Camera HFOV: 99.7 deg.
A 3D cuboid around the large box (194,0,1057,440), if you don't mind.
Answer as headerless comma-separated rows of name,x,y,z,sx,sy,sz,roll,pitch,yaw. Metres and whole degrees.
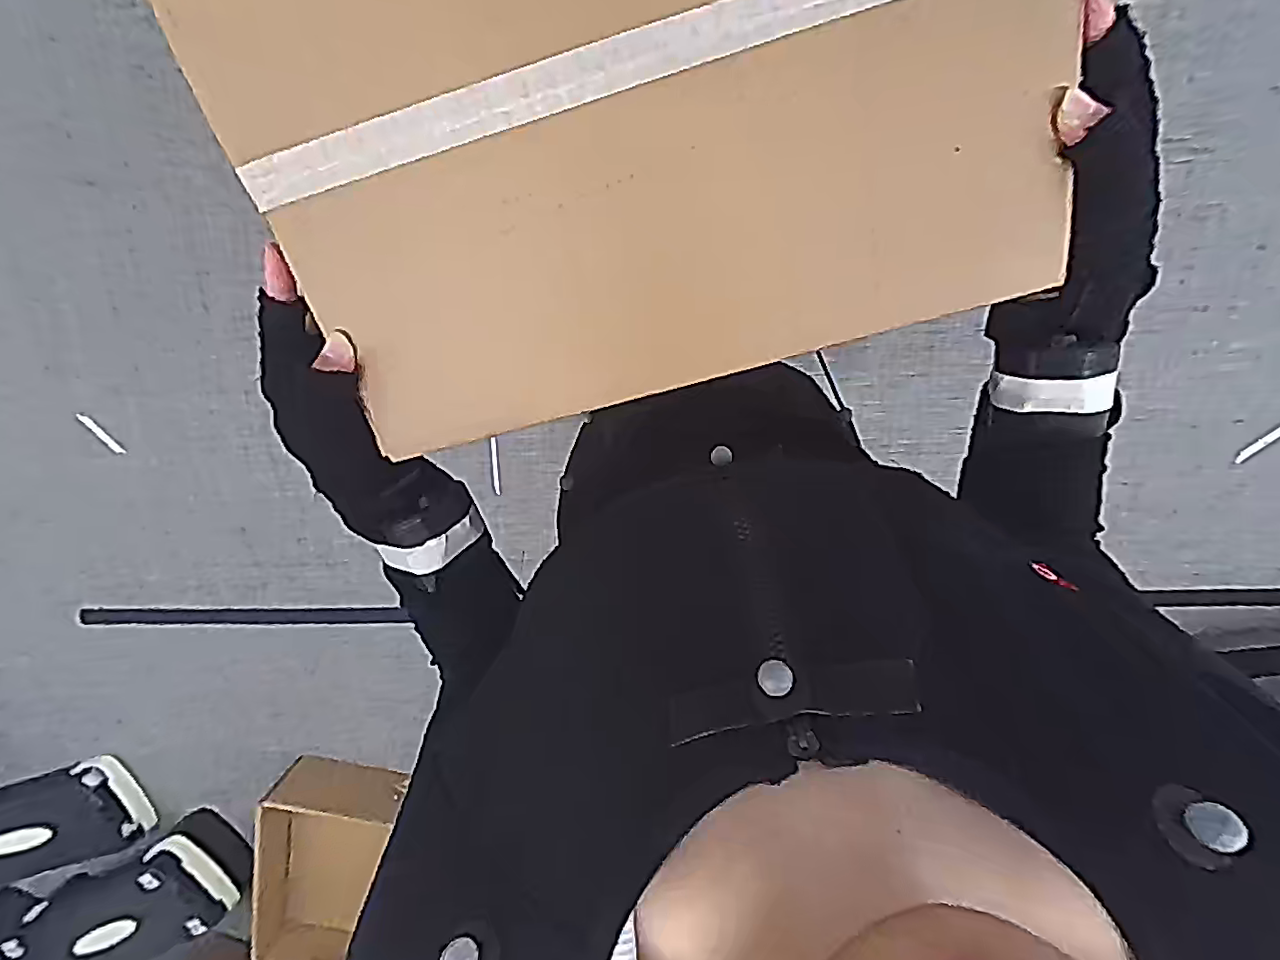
large box,-0.002,-0.266,0.403,0.408,0.320,0.320,-14,114,6
